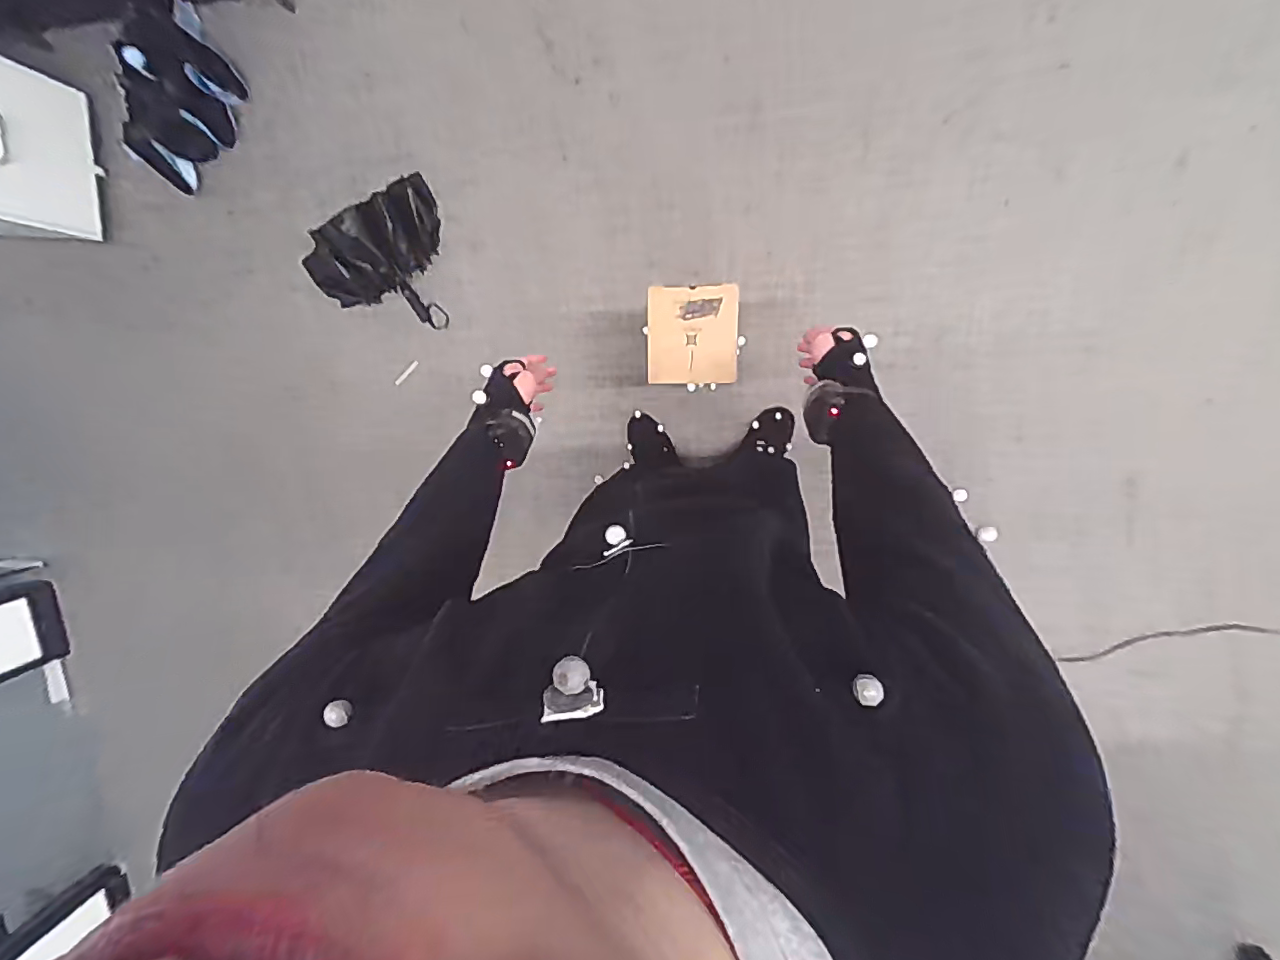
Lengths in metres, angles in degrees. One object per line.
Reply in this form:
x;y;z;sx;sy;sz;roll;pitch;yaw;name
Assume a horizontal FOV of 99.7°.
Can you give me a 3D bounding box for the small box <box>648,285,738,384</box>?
0.106;-0.282;1.076;0.168;0.176;0.179;1;103;8;small box
